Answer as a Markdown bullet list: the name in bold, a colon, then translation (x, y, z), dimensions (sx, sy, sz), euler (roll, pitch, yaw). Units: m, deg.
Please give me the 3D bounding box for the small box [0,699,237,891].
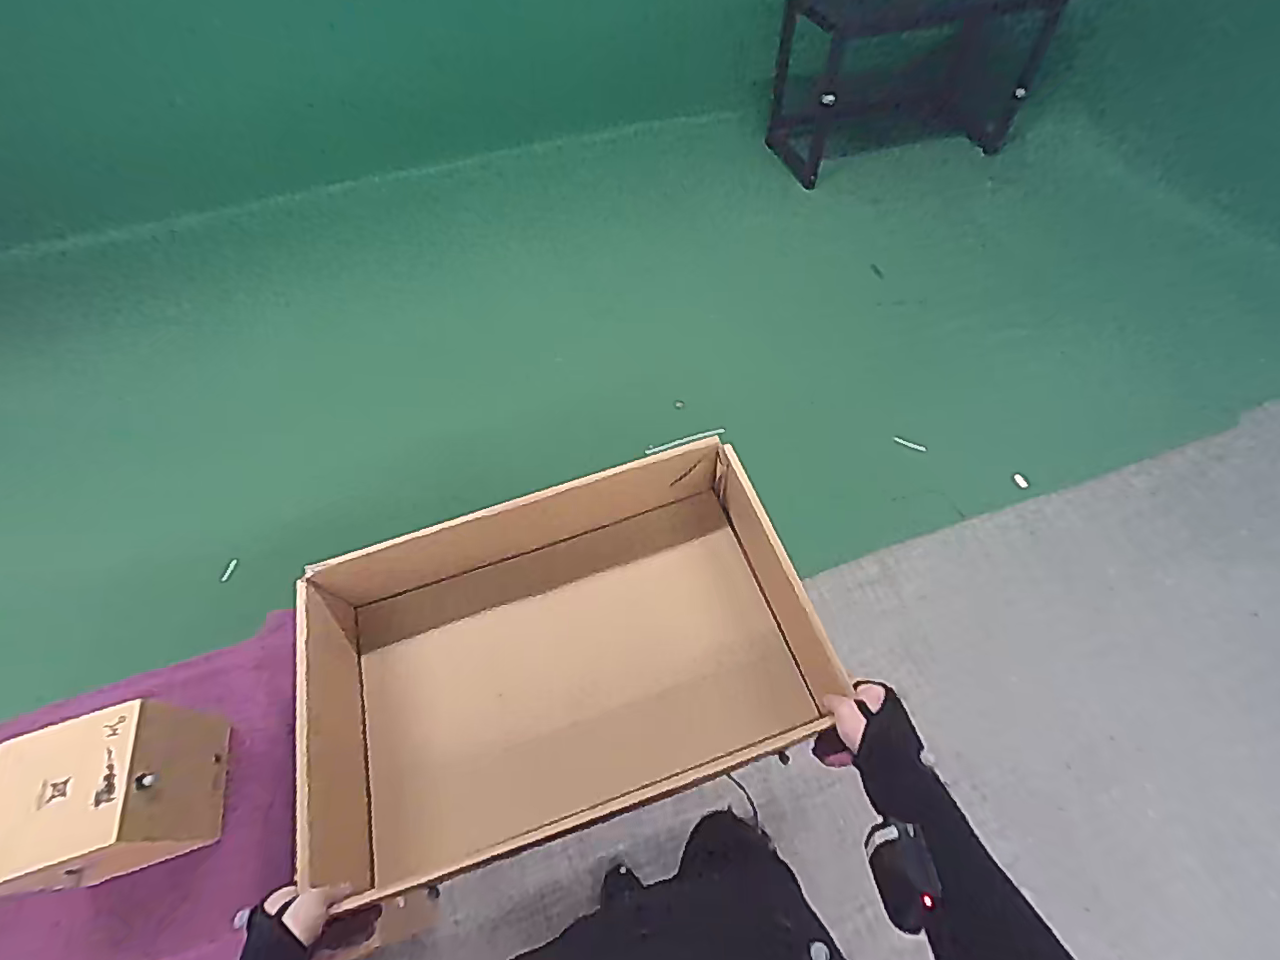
- **small box**: translation (-0.682, 0.413, 0.708), dimensions (0.179, 0.176, 0.168), euler (-17, 58, -6)
